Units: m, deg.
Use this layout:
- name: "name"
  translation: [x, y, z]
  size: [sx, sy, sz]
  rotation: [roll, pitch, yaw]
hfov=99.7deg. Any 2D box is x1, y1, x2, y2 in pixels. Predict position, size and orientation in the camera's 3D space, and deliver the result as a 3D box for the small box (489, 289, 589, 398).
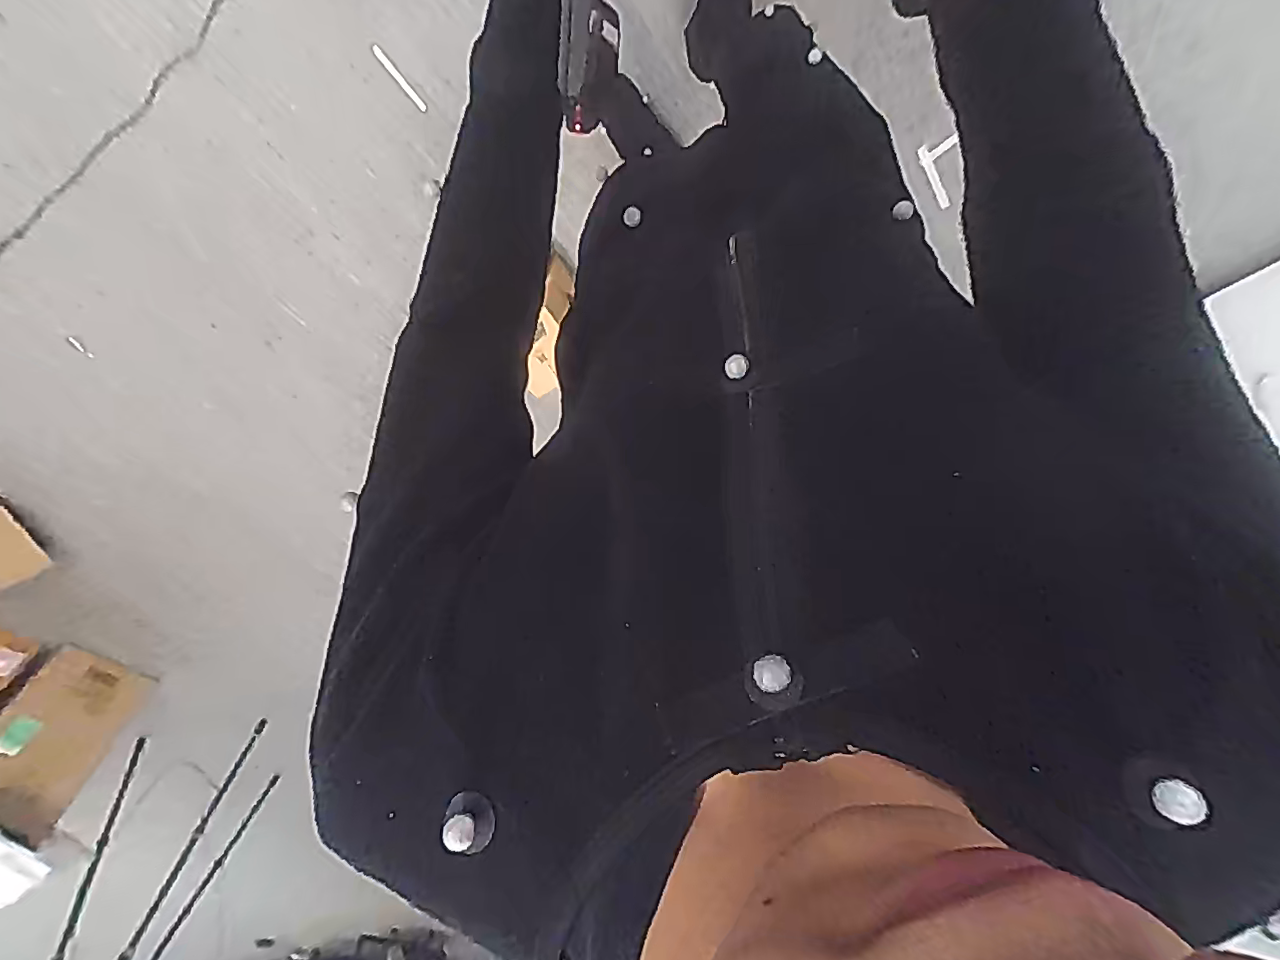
- name: "small box"
  translation: [-0.238, -0.340, 1.317]
  size: [0.168, 0.176, 0.179]
  rotation: [-27, 127, 18]
